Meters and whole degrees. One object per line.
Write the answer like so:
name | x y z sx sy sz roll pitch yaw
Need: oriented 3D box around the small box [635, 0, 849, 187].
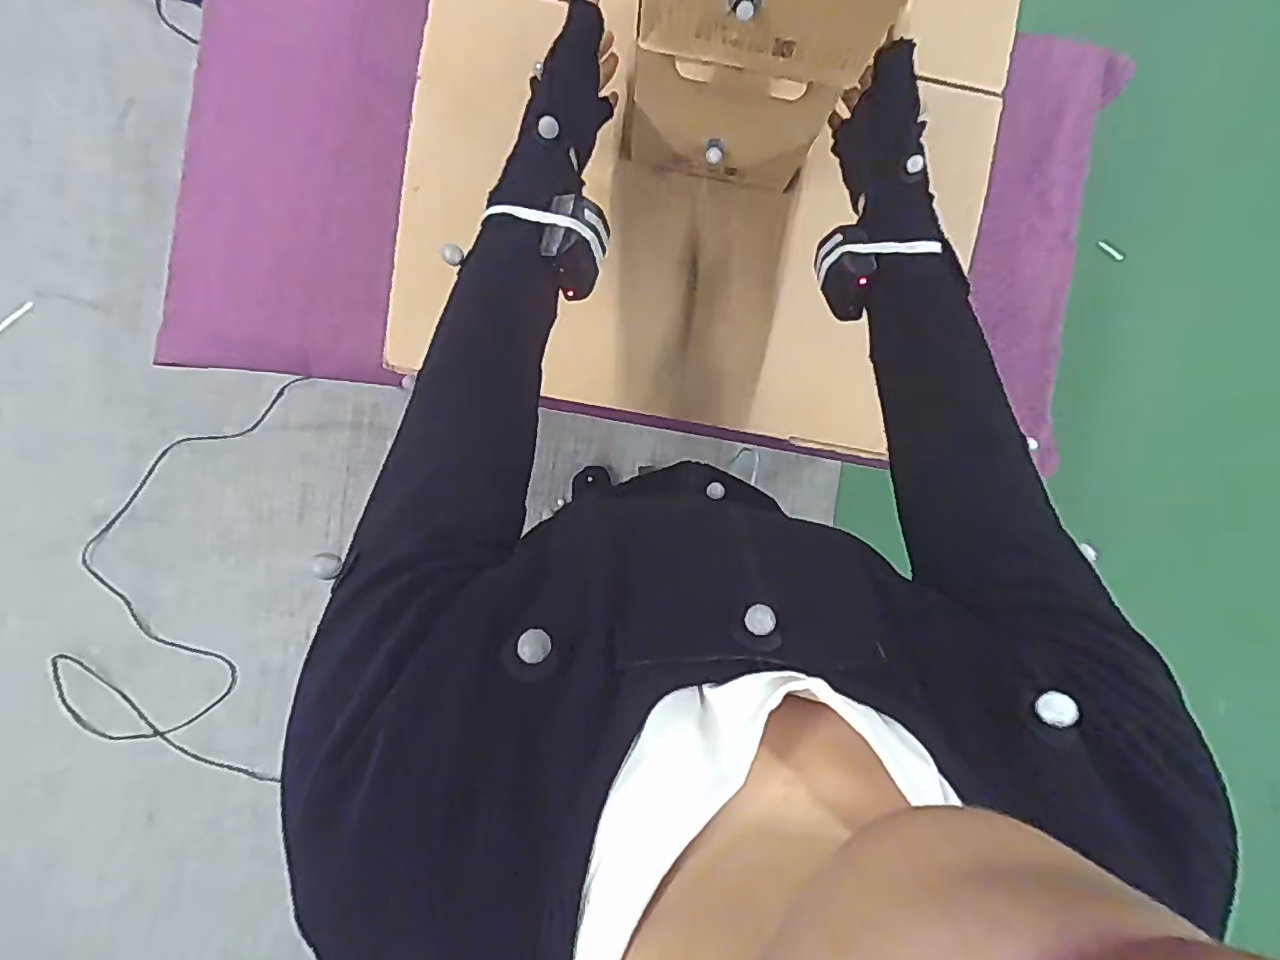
small box | 0.090 -0.403 0.482 0.168 0.176 0.179 10 91 -3

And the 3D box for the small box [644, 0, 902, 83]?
small box | 0.096 -0.392 0.321 0.168 0.176 0.179 8 91 -3
